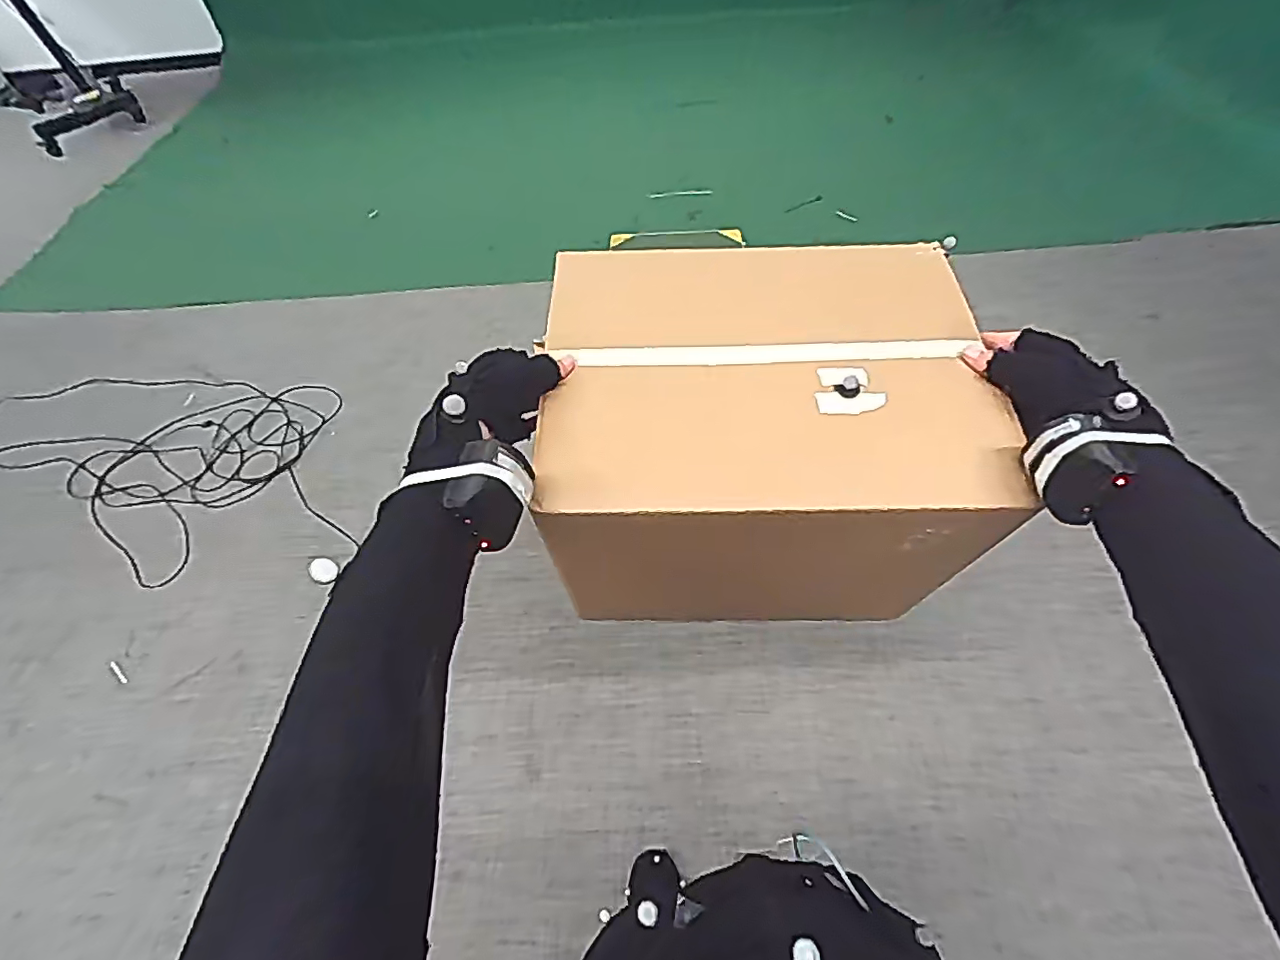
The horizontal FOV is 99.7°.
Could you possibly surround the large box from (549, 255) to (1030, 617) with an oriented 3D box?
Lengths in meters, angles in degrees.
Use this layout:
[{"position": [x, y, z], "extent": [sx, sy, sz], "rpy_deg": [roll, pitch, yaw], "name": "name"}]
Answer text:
[{"position": [0.120, -0.034, 0.641], "extent": [0.408, 0.320, 0.320], "rpy_deg": [-1, 61, 0], "name": "large box"}]
